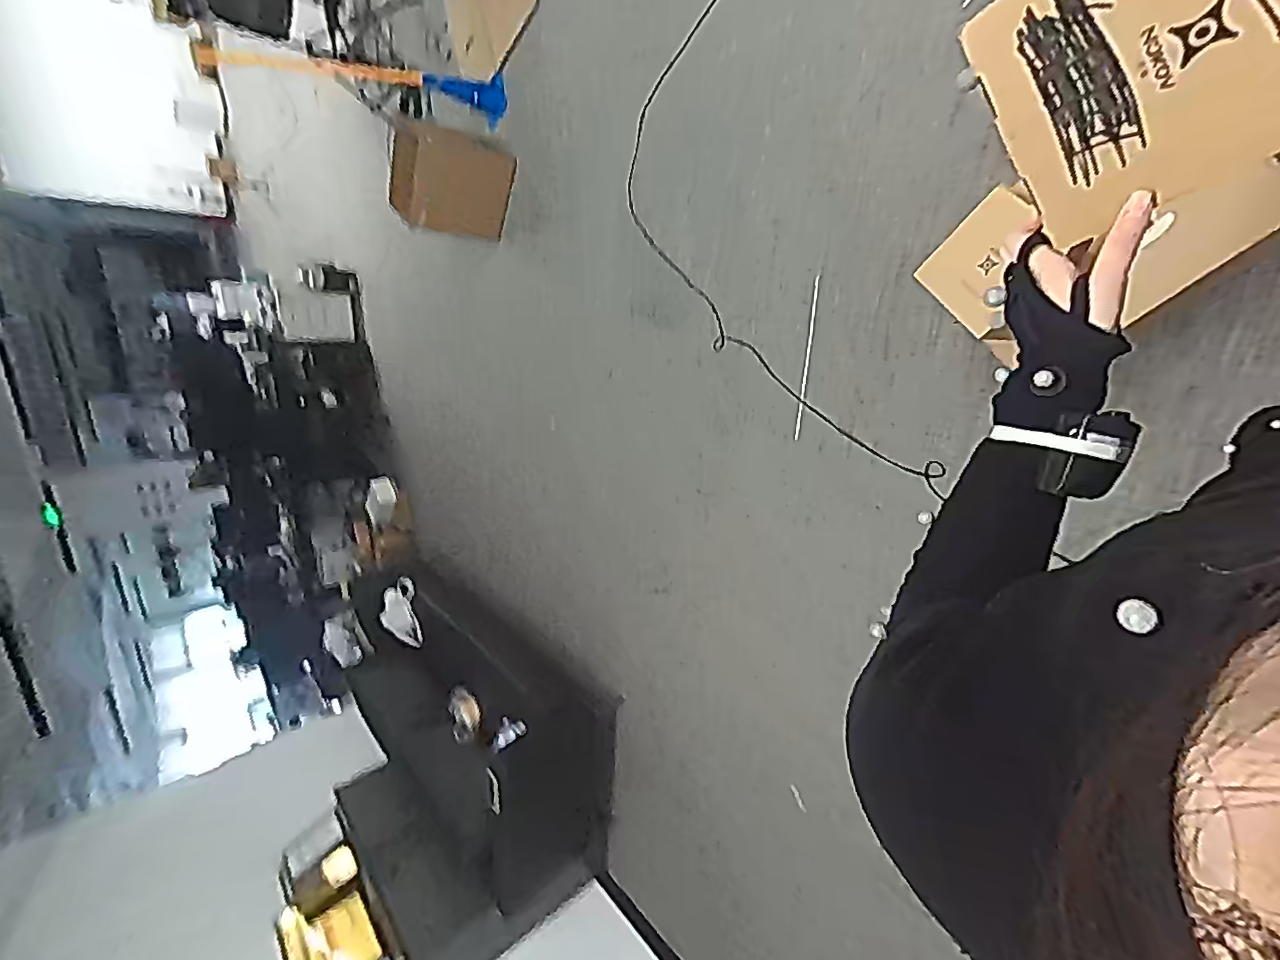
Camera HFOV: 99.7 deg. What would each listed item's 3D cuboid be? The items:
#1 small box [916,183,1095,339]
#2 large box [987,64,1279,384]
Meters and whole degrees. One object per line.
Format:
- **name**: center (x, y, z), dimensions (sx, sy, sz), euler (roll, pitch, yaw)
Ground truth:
- **small box**: center (0.620, -0.359, 0.914), dimensions (0.168, 0.176, 0.179), euler (60, 137, 22)
- **large box**: center (0.853, -0.428, 1.007), dimensions (0.408, 0.320, 0.320), euler (-47, 66, 44)
